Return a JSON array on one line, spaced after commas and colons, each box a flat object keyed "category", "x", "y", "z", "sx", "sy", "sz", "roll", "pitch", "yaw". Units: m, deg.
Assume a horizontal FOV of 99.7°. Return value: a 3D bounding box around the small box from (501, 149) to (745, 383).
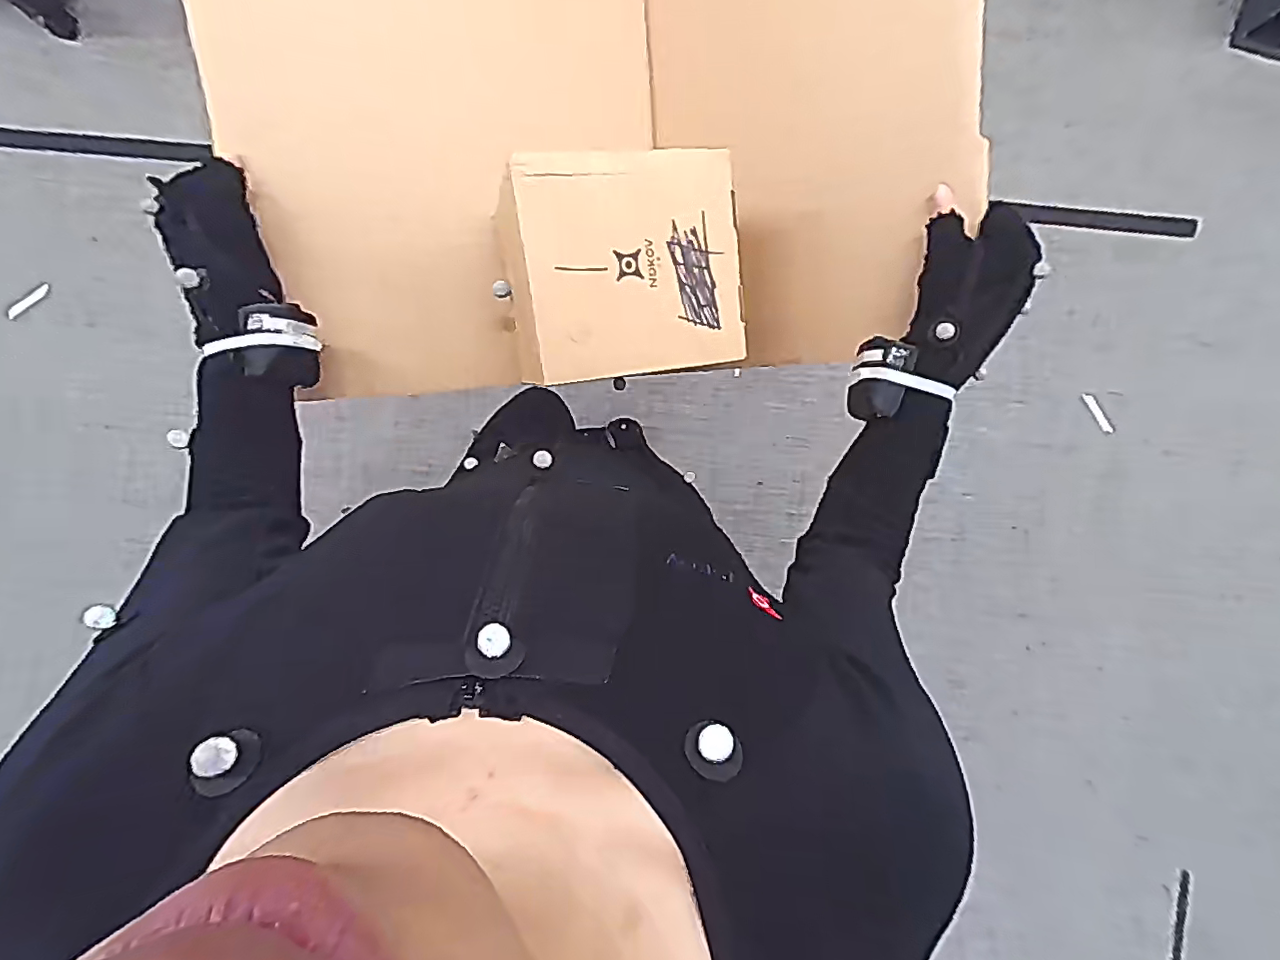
[{"category": "small box", "x": -0.024, "y": -0.184, "z": 0.498, "sx": 0.179, "sy": 0.176, "sz": 0.168, "roll": -11, "pitch": 103, "yaw": -15}]
